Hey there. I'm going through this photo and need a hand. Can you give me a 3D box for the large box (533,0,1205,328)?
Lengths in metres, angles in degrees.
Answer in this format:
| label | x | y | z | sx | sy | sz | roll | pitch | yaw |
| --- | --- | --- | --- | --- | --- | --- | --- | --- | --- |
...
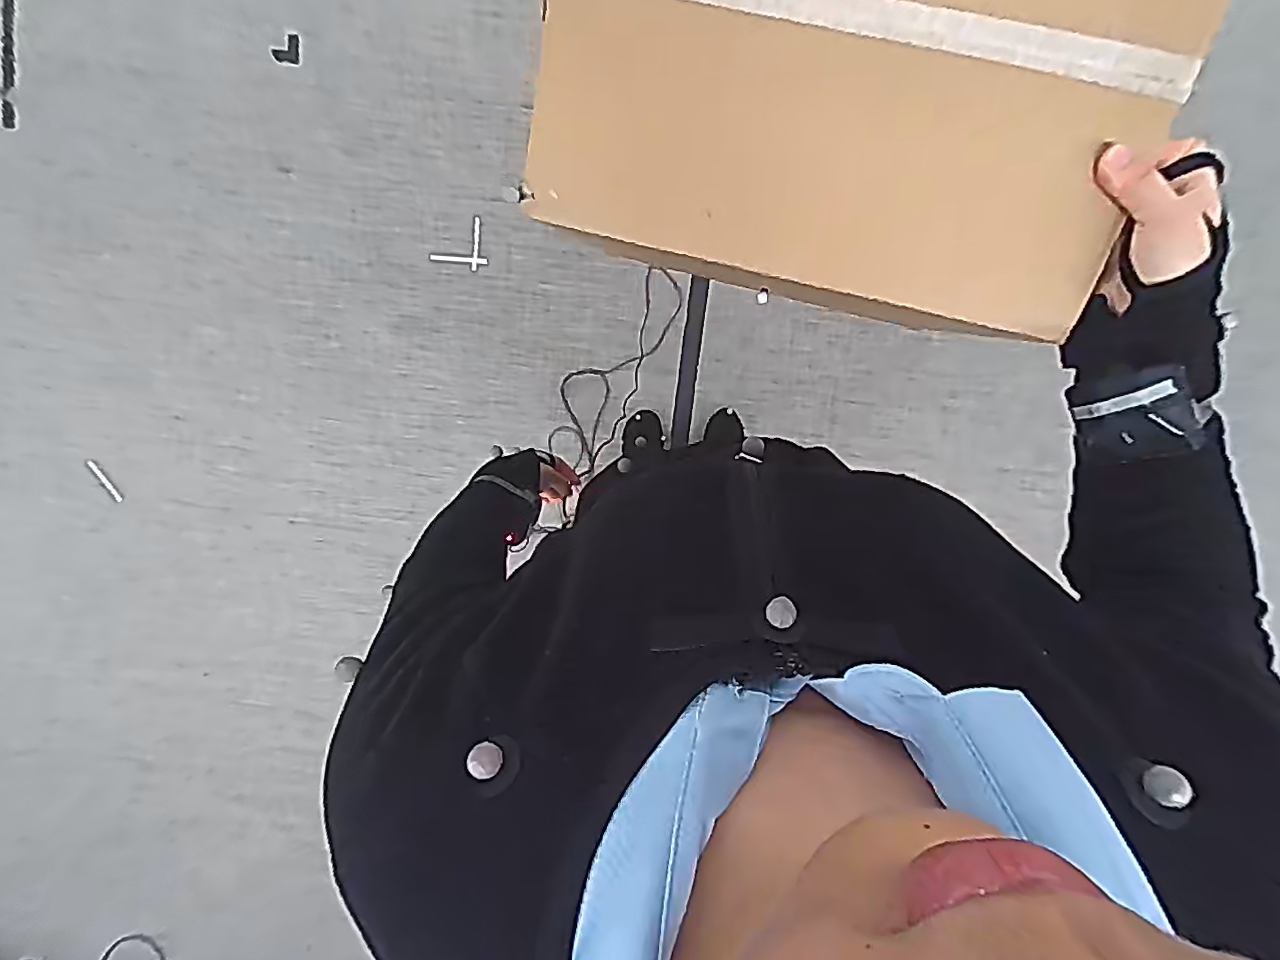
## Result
| label | x | y | z | sx | sy | sz | roll | pitch | yaw |
| --- | --- | --- | --- | --- | --- | --- | --- | --- | --- |
| large box | 0.163 | -0.339 | 0.494 | 0.408 | 0.320 | 0.320 | 15 | 108 | 5 |
